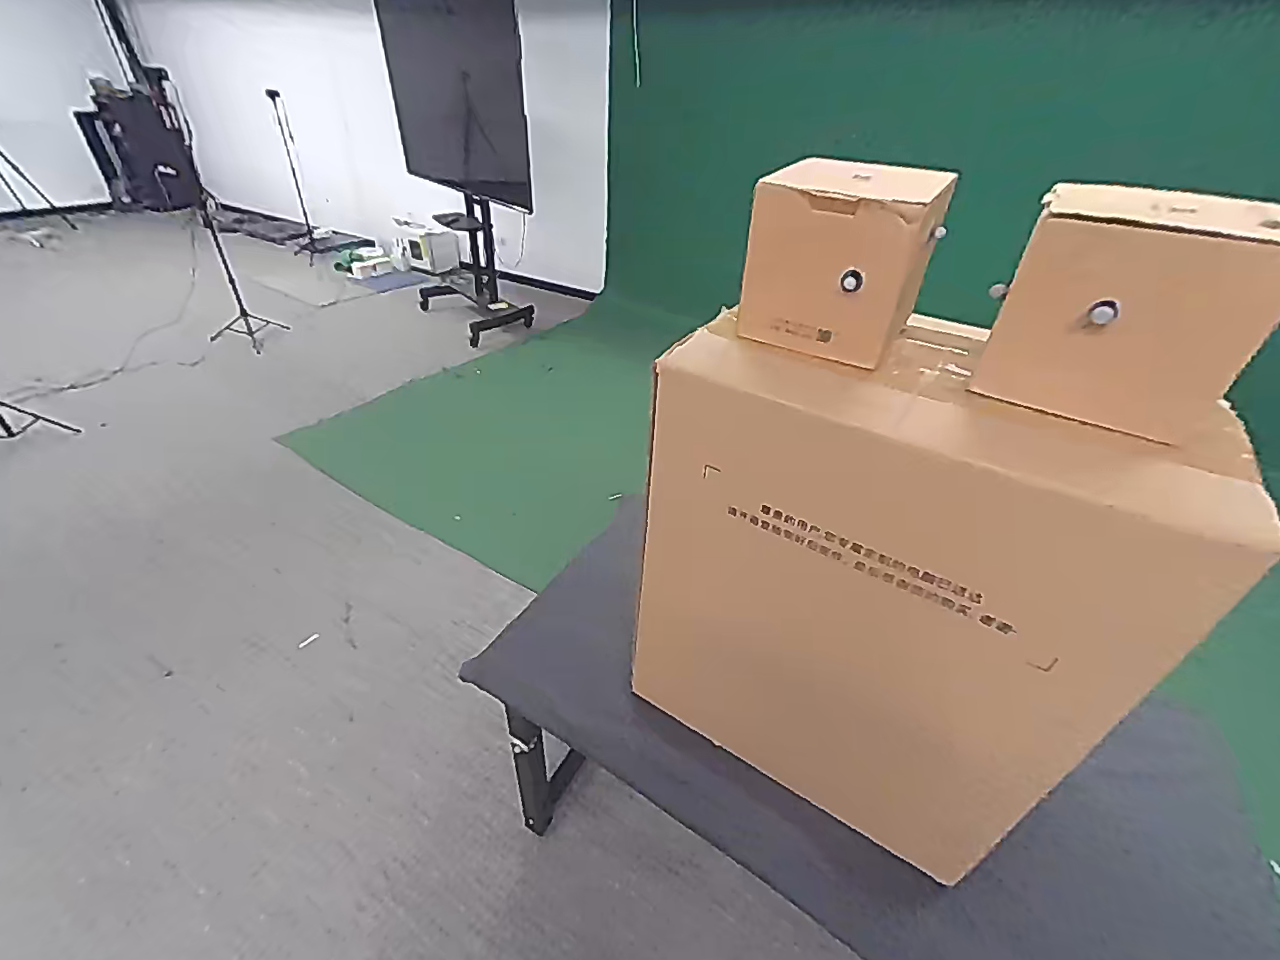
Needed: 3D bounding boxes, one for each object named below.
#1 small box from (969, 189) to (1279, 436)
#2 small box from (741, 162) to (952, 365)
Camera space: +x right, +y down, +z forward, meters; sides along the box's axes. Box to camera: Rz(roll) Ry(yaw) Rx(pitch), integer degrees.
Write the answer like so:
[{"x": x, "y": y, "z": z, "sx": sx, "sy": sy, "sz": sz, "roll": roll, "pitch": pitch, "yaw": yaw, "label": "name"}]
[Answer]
[{"x": 0.442, "y": -0.163, "z": 0.511, "sx": 0.179, "sy": 0.176, "sz": 0.168, "roll": 23, "pitch": 44, "yaw": 26, "label": "small box"}, {"x": 0.227, "y": -0.251, "z": 0.619, "sx": 0.168, "sy": 0.176, "sz": 0.179, "roll": 24, "pitch": 43, "yaw": 24, "label": "small box"}]
